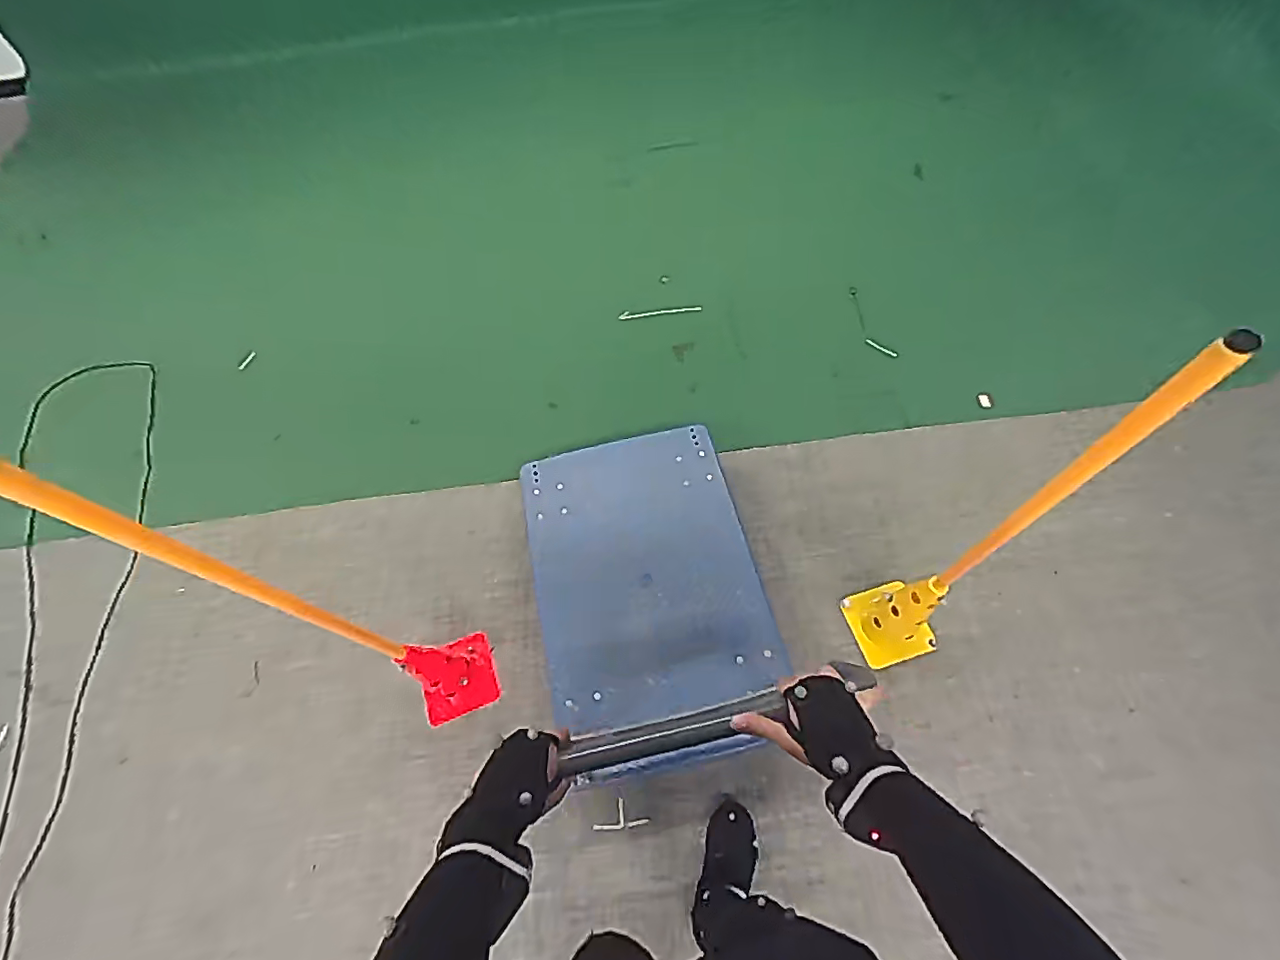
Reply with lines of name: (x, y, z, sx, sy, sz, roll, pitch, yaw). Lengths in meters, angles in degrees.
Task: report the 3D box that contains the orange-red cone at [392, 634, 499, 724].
orange-red cone: (-0.510, 0.462, 1.330, 0.199, 0.360, 0.198, -21, 62, -5)
